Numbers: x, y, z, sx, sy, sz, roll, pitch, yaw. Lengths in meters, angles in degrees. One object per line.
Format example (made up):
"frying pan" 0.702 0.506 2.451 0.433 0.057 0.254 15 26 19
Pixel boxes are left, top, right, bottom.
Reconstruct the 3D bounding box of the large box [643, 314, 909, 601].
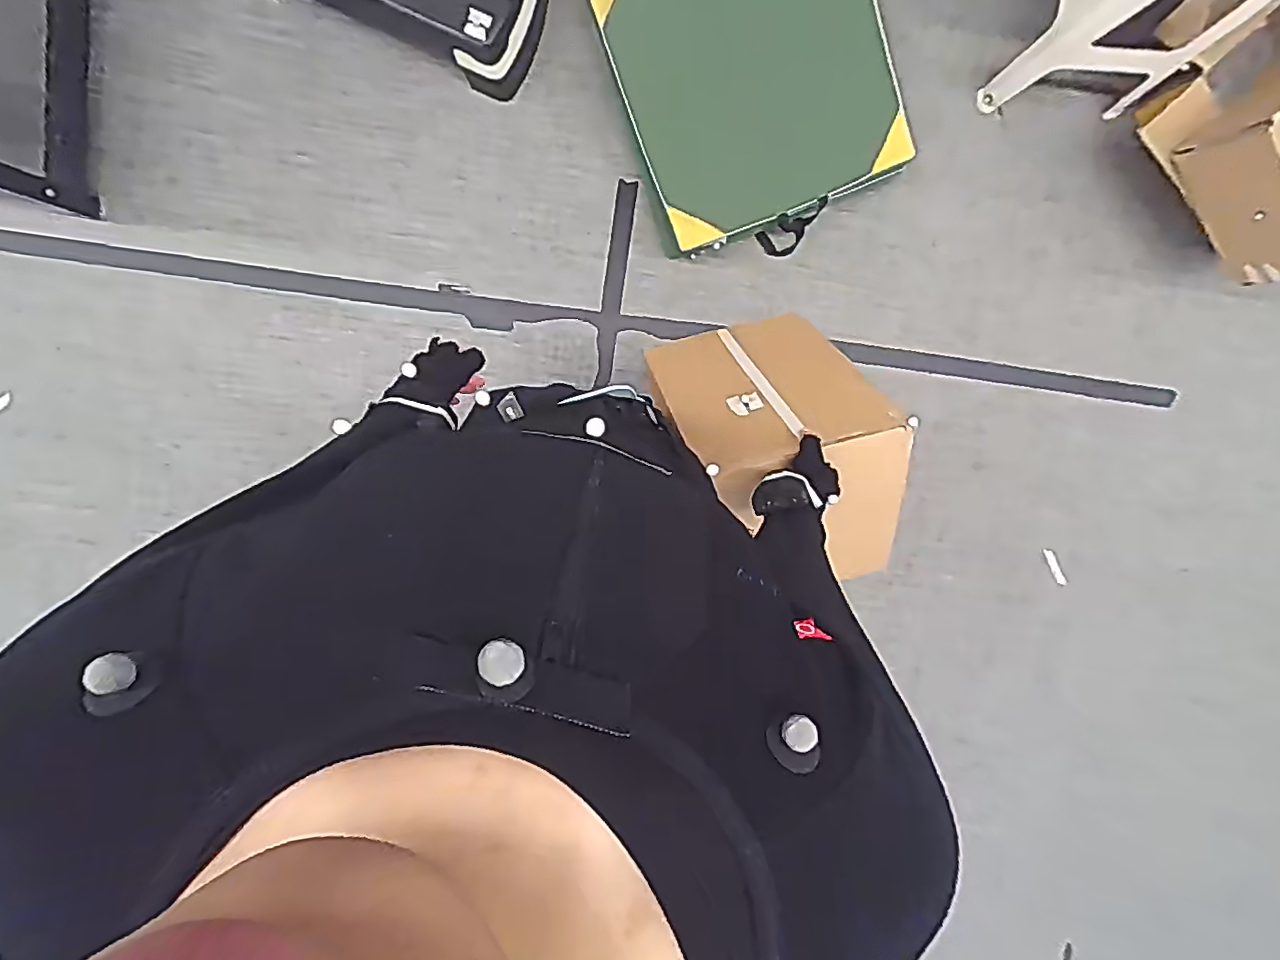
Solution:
"large box" 0.216 -0.054 1.000 0.320 0.408 0.320 -15 132 -2
